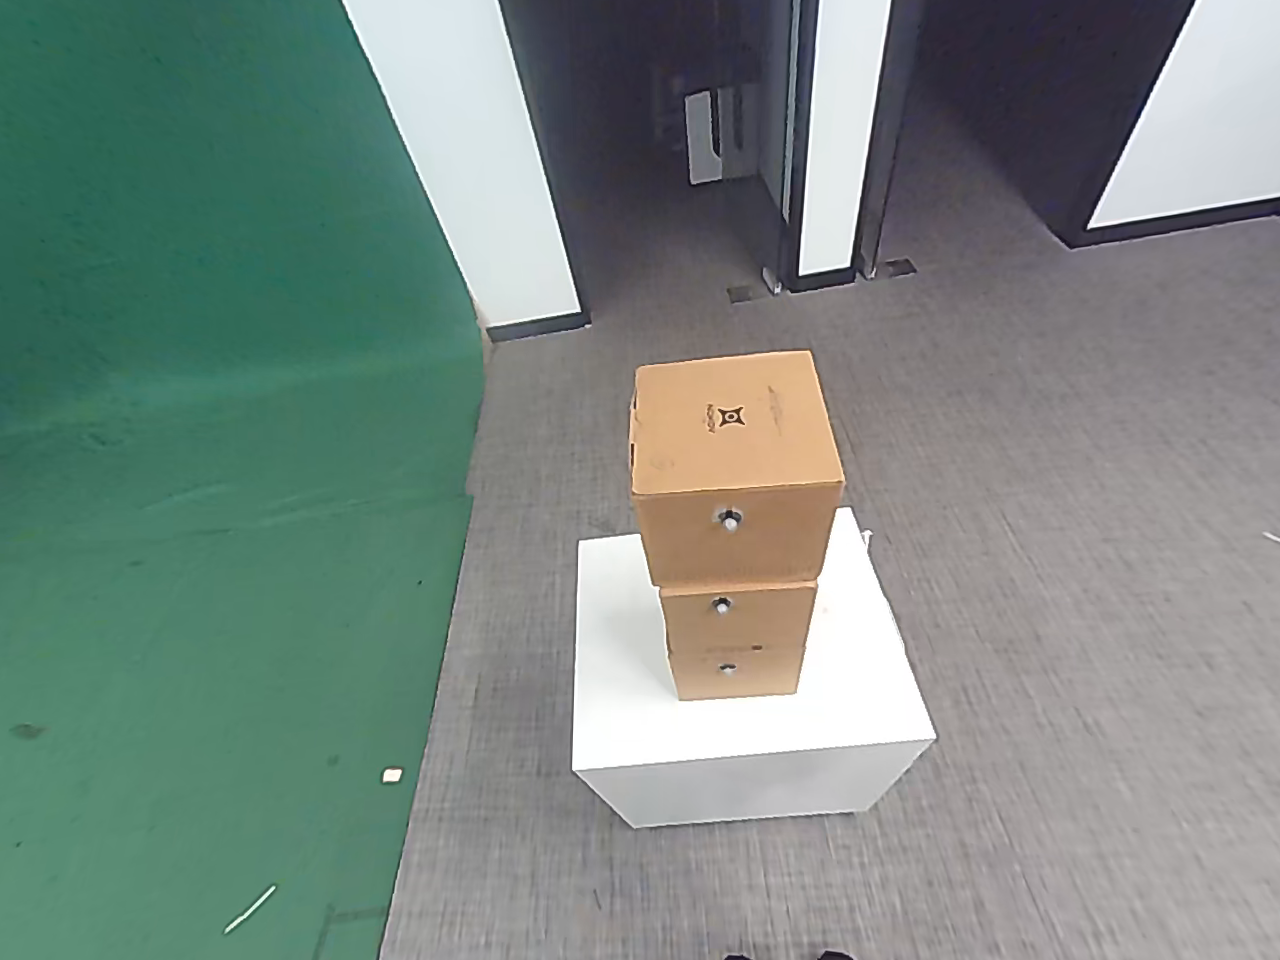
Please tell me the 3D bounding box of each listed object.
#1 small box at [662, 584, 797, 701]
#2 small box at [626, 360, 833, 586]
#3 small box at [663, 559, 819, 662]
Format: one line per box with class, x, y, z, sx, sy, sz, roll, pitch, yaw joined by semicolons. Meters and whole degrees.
small box;0.130;0.217;0.801;0.179;0.176;0.168;-6;49;6
small box;0.087;0.000;0.562;0.179;0.176;0.168;-4;51;7
small box;0.113;0.109;0.683;0.168;0.176;0.179;-6;49;4
